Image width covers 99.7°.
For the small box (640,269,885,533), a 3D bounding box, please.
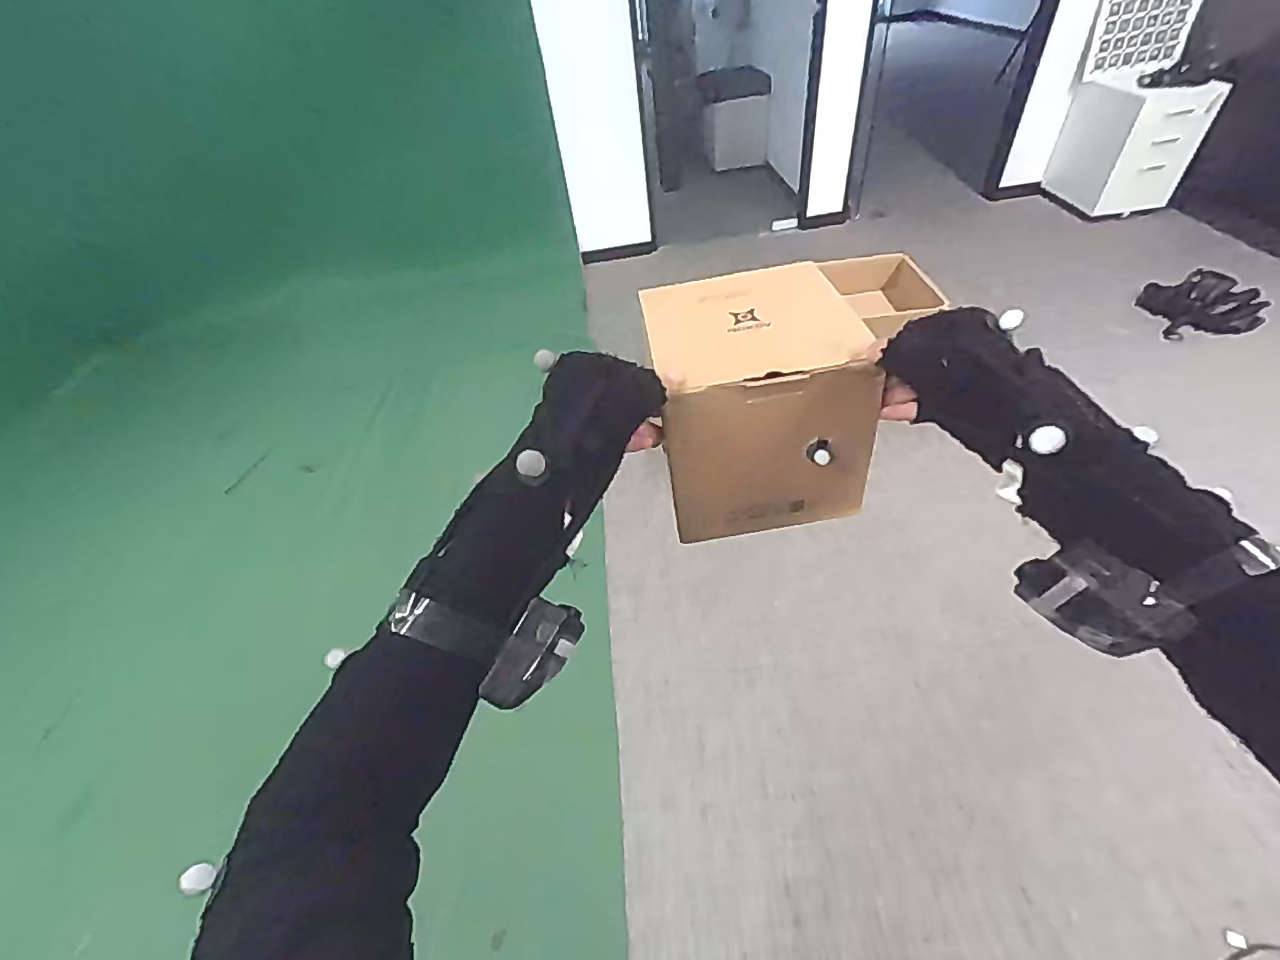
[{"bbox_3d":[0.098,-0.067,0.495,0.168,0.176,0.179,-9,41,1],"label":"small box"}]
